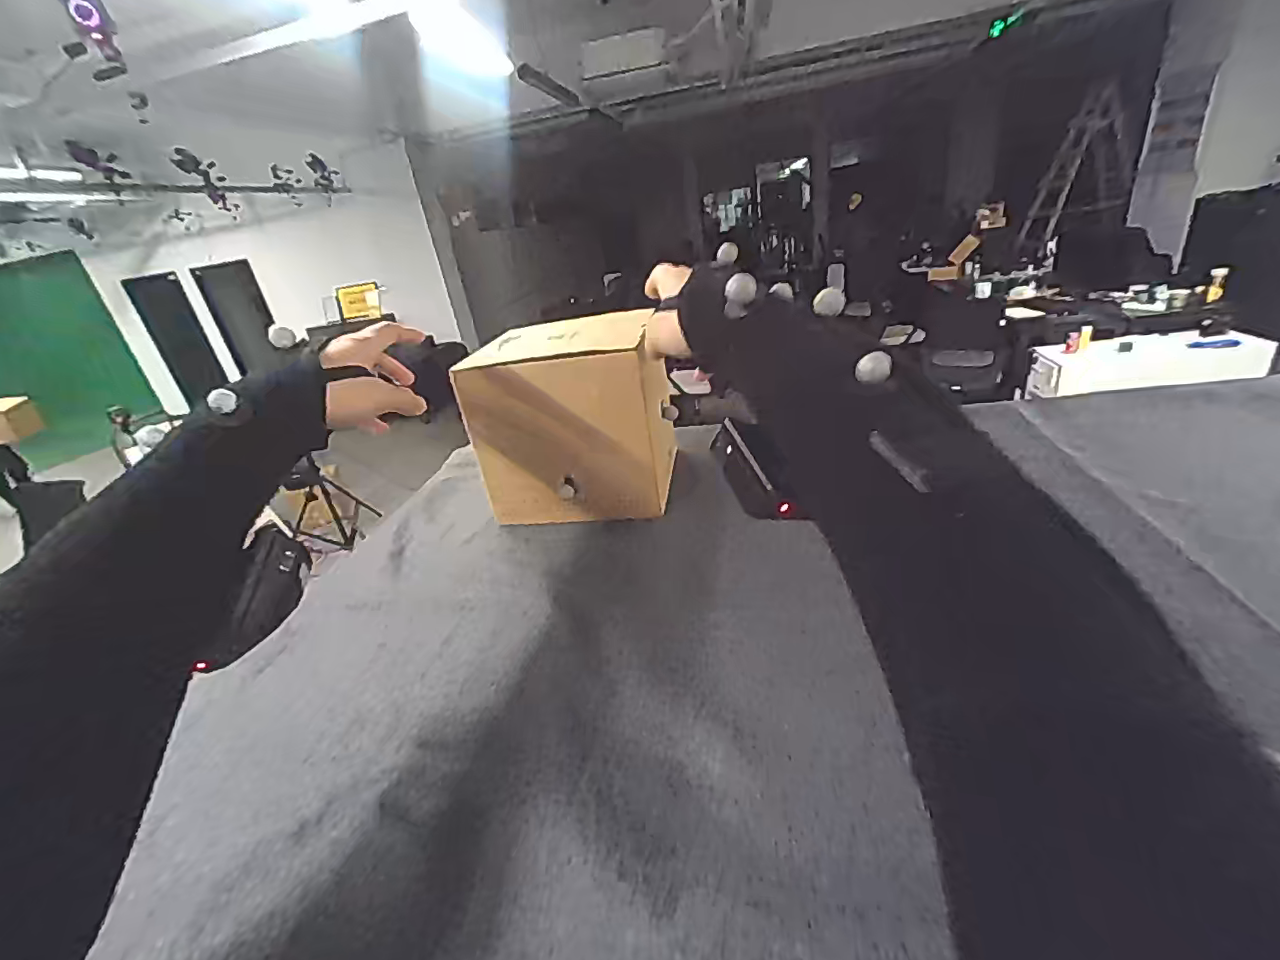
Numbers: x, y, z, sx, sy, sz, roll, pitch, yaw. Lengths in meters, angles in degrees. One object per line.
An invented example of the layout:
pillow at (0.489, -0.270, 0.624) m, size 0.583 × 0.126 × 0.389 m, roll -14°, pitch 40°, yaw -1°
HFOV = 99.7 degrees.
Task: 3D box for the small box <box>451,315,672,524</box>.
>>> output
small box at (-0.063, -0.065, 0.570) m, size 0.179 × 0.176 × 0.168 m, roll -3°, pitch 27°, yaw 11°
